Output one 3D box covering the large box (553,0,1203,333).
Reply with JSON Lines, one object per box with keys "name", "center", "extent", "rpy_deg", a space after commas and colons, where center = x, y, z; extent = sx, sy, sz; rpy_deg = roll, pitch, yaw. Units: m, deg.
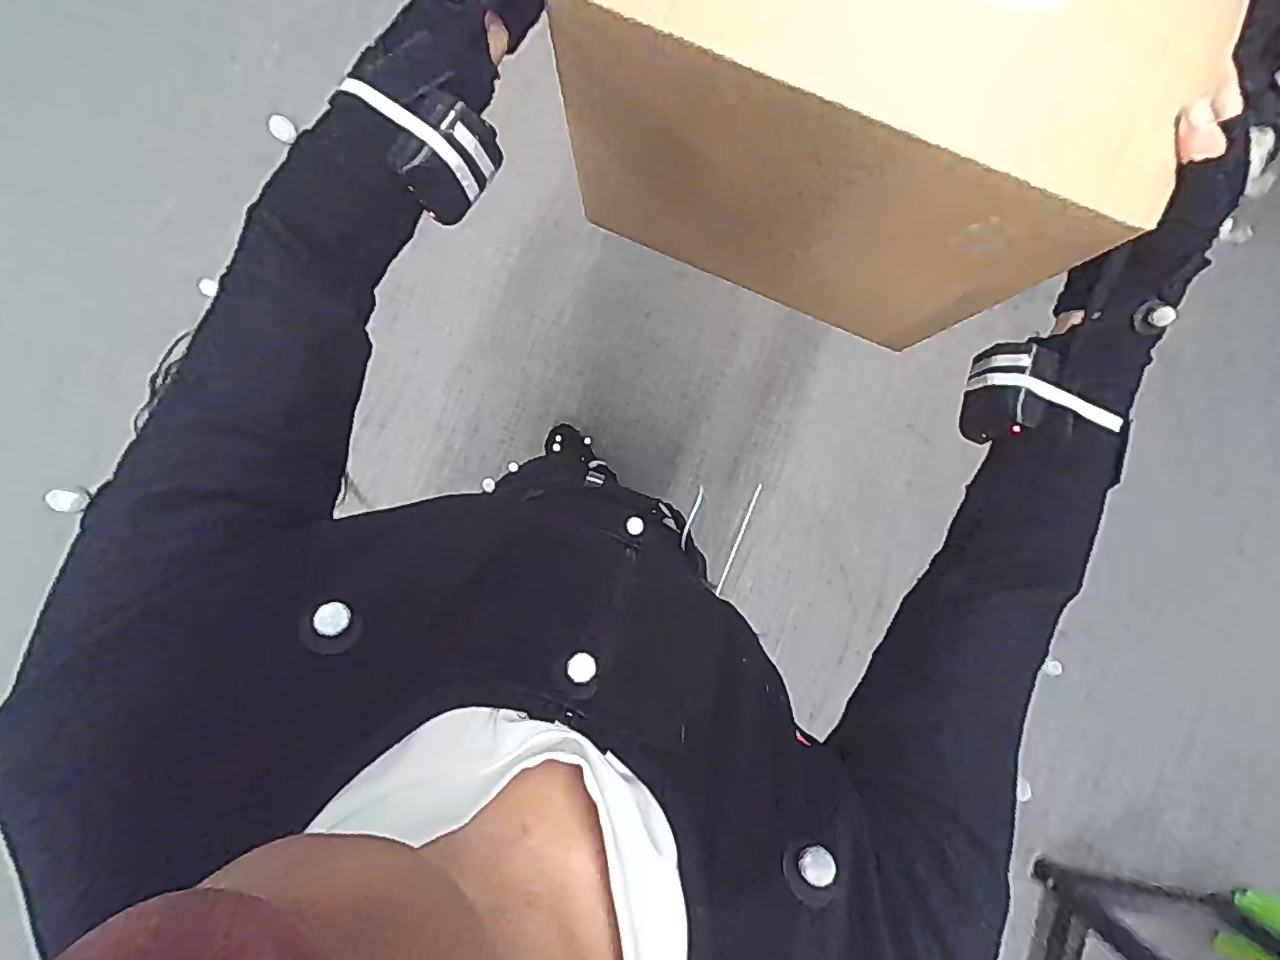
{"name": "large box", "center": [0.171, -0.380, 0.491], "extent": [0.408, 0.320, 0.320], "rpy_deg": [21, 90, -2]}
